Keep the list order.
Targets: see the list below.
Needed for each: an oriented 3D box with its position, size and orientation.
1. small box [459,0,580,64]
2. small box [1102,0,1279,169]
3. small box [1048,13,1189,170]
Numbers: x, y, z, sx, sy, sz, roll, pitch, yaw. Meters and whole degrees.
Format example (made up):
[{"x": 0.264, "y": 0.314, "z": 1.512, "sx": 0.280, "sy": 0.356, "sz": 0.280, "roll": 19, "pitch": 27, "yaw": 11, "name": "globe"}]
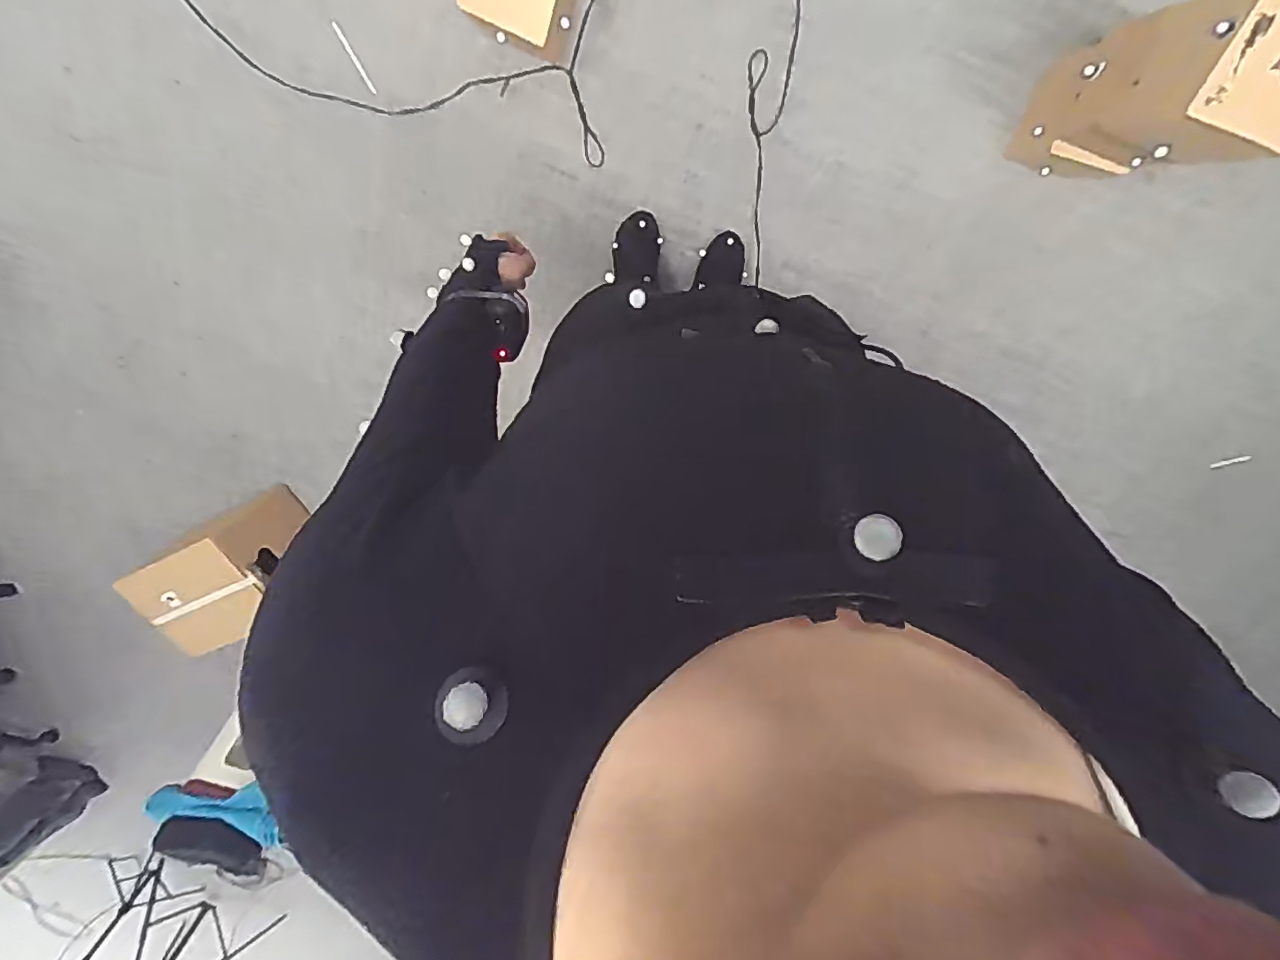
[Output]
[{"x": -0.219, "y": -0.940, "z": 1.041, "sx": 0.179, "sy": 0.176, "sz": 0.168, "roll": 21, "pitch": 117, "yaw": -7, "name": "small box"}, {"x": 0.856, "y": -0.575, "z": 0.792, "sx": 0.179, "sy": 0.176, "sz": 0.168, "roll": 18, "pitch": 116, "yaw": -6, "name": "small box"}, {"x": 0.875, "y": -0.654, "z": 0.935, "sx": 0.179, "sy": 0.176, "sz": 0.168, "roll": 18, "pitch": 116, "yaw": -4, "name": "small box"}]
